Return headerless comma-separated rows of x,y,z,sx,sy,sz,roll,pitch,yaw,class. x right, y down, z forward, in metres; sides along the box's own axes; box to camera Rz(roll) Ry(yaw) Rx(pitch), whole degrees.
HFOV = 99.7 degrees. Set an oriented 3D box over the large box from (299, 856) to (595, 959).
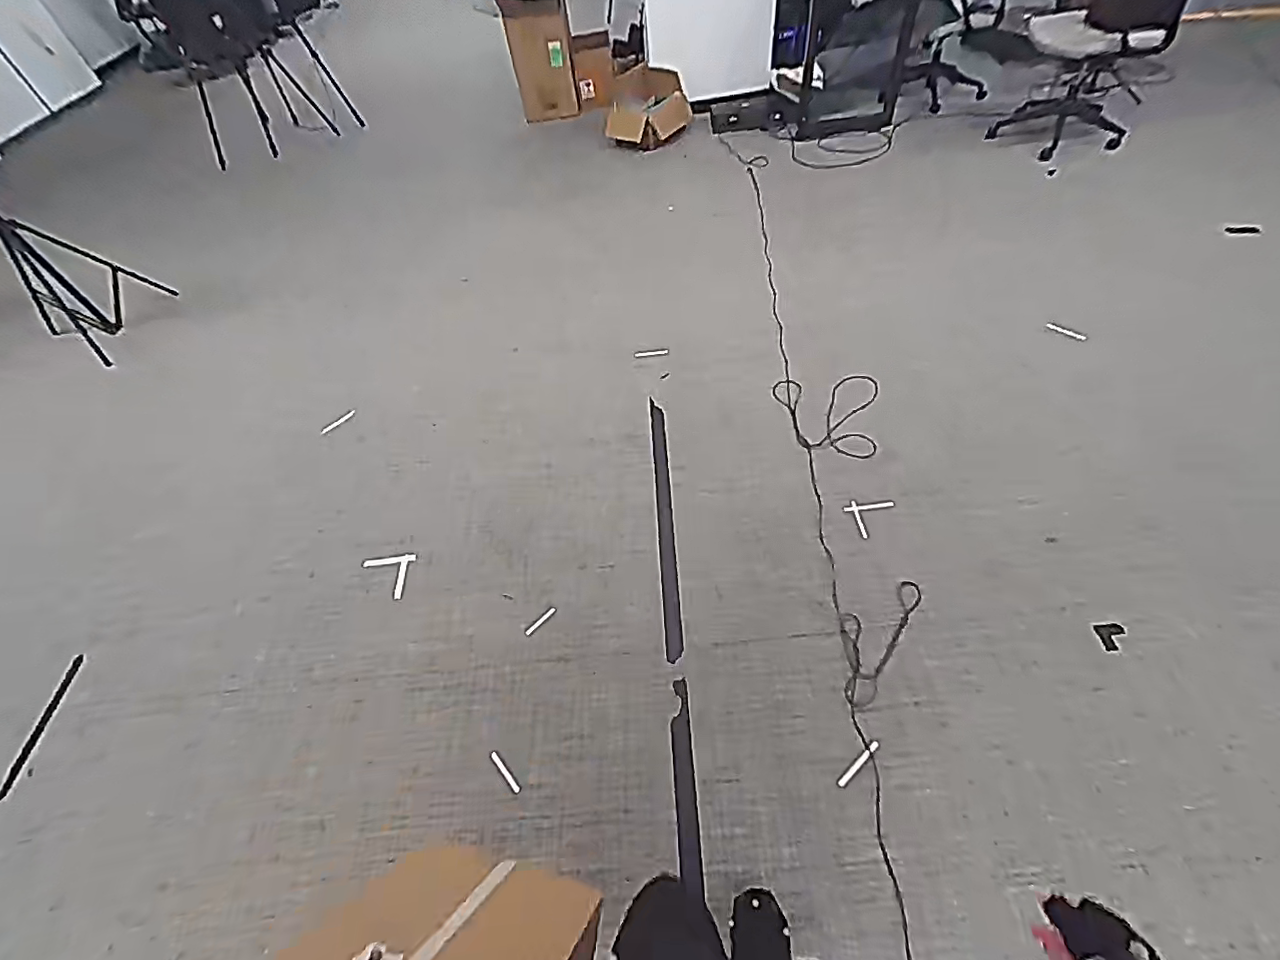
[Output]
-0.278,0.759,0.661,0.320,0.408,0.320,4,81,15,large box
